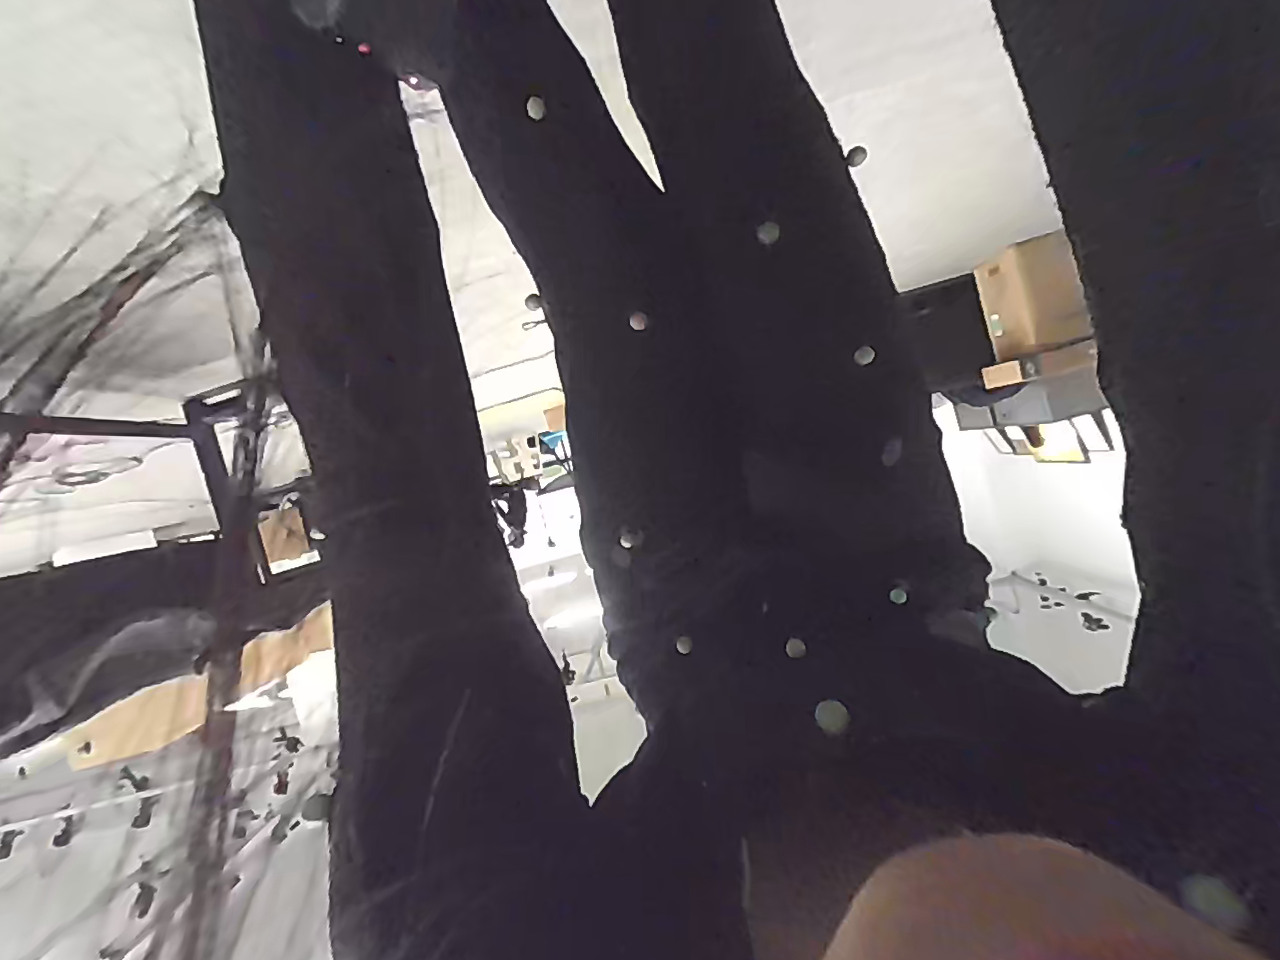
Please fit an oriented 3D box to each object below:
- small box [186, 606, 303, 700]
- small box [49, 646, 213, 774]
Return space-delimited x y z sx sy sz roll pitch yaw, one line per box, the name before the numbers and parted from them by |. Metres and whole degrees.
small box | -1.027 0.440 1.403 0.179 0.176 0.168 -16 -178 2
small box | -1.037 0.458 1.105 0.179 0.176 0.168 -16 -177 2
